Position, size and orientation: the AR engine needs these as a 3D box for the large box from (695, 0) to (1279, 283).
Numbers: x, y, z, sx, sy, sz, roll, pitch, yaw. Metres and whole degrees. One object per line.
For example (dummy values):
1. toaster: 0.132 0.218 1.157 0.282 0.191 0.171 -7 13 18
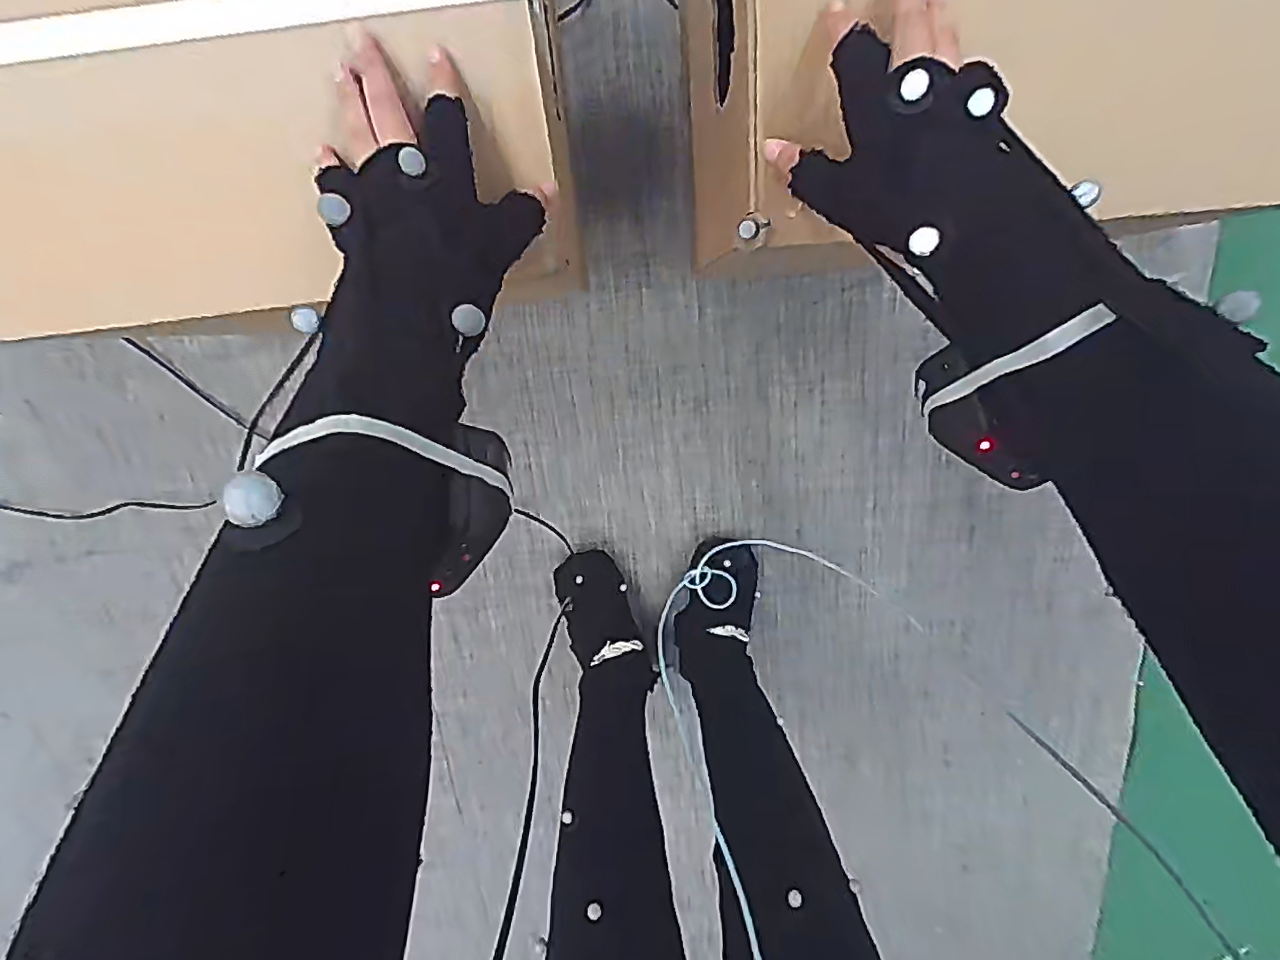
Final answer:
1. large box: 0.271 -0.362 0.492 0.408 0.320 0.320 -4 106 0
